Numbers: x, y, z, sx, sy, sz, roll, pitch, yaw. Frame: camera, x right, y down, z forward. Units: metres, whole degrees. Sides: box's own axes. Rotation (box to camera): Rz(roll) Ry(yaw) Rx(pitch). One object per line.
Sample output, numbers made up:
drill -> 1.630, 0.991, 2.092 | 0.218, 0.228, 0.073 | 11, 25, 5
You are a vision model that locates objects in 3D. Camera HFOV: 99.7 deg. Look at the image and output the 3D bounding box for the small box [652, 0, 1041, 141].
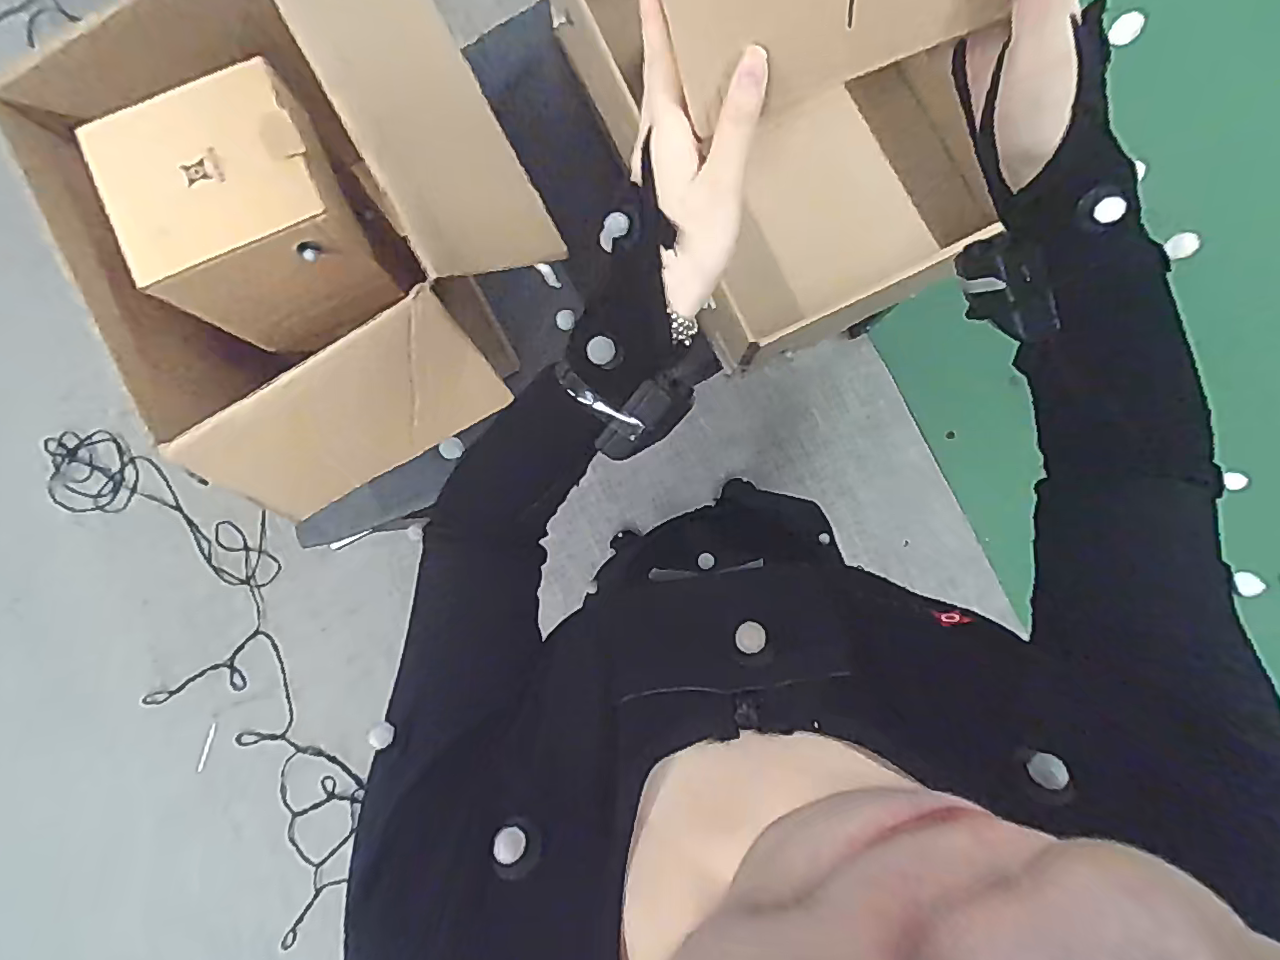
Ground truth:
small box -> 0.080, -0.311, 0.276 | 0.168, 0.176, 0.179 | -16, 131, 11
